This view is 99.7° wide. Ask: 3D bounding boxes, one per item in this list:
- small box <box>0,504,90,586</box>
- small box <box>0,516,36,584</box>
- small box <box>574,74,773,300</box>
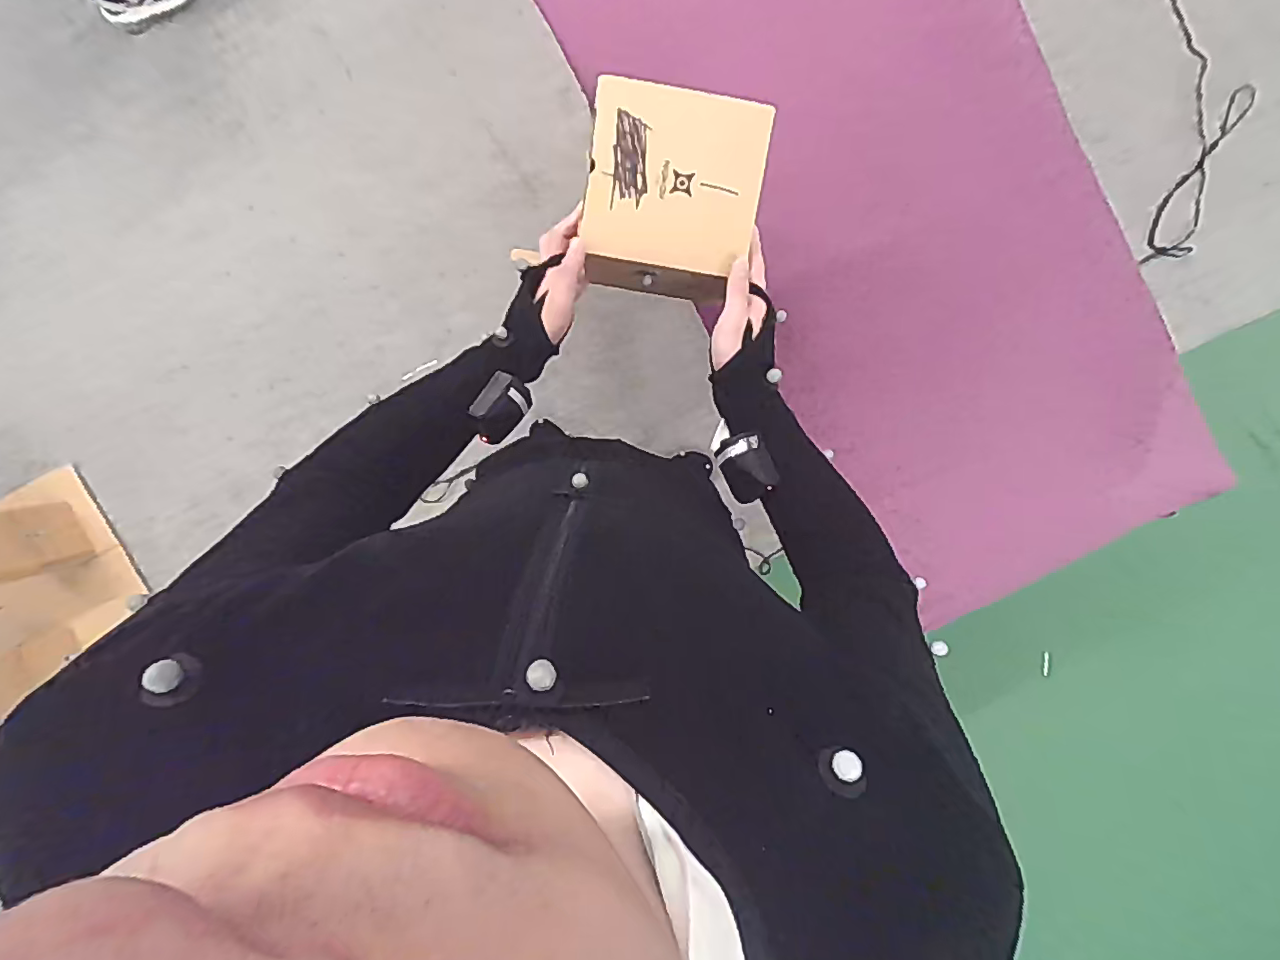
[{"bbox_3d":[-1.806,0.189,1.596,0.168,0.176,0.179,-26,96,3],"label":"small box"},{"bbox_3d":[-1.802,0.203,1.435,0.168,0.176,0.179,-27,97,3],"label":"small box"},{"bbox_3d":[0.030,-0.310,0.611,0.179,0.176,0.168,8,100,-3],"label":"small box"}]
